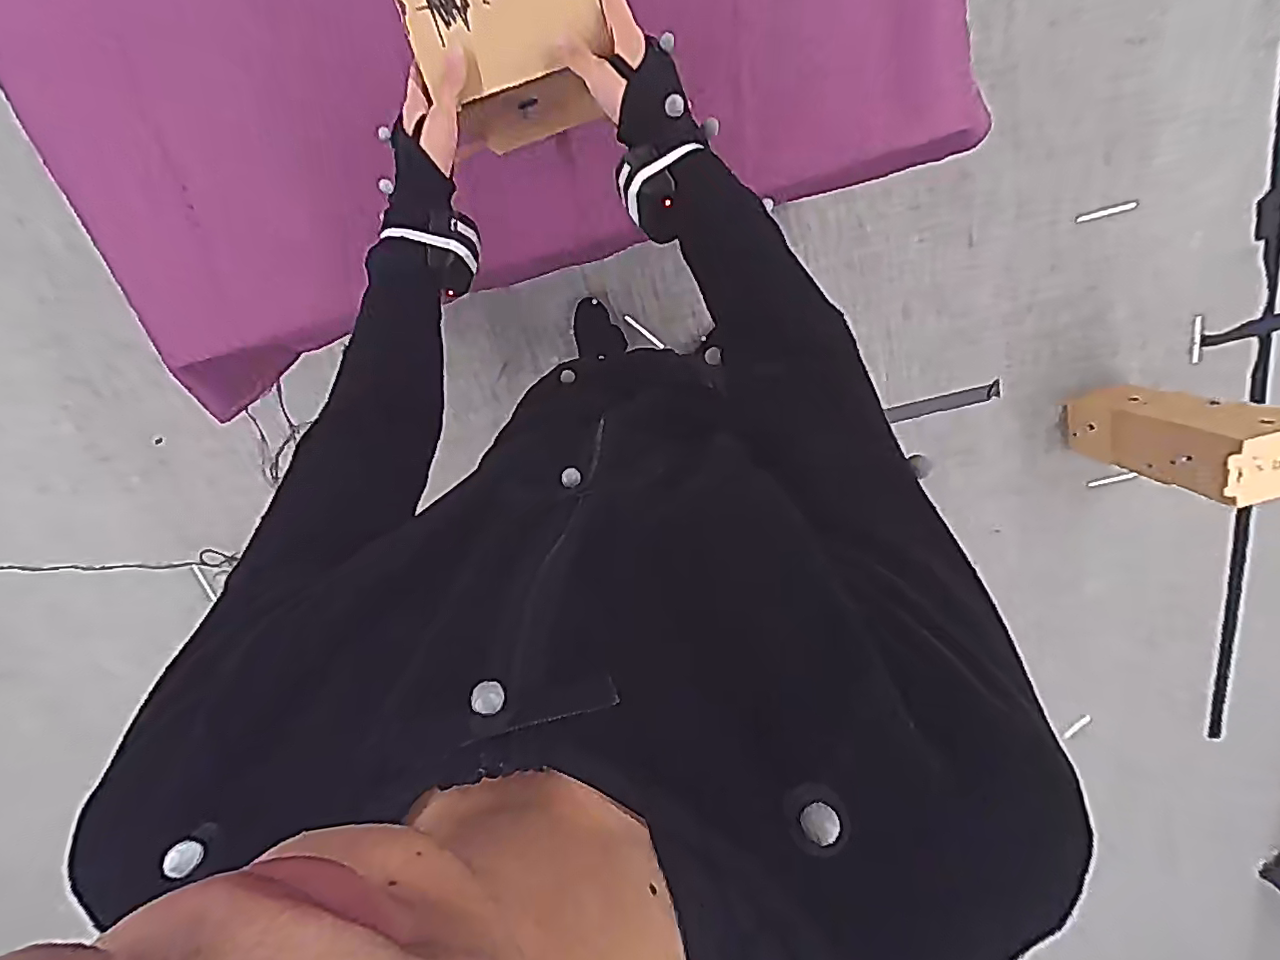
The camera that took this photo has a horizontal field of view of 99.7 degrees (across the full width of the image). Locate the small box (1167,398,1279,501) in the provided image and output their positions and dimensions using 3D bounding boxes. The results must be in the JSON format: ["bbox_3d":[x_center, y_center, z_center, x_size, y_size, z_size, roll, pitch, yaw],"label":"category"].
[{"bbox_3d":[1.374,-0.077,1.232,0.179,0.176,0.168,-15,111,5],"label":"small box"}]

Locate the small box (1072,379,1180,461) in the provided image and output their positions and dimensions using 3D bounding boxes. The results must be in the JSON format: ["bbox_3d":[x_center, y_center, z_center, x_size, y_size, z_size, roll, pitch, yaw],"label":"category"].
[{"bbox_3d":[1.381,-0.175,1.549,0.179,0.176,0.168,-19,110,5],"label":"small box"}]

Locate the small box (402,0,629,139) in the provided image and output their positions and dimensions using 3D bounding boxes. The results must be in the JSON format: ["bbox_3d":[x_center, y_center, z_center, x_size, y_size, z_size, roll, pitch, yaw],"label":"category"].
[{"bbox_3d":[-0.121,-0.470,0.540,0.179,0.176,0.168,-14,110,10],"label":"small box"}]
